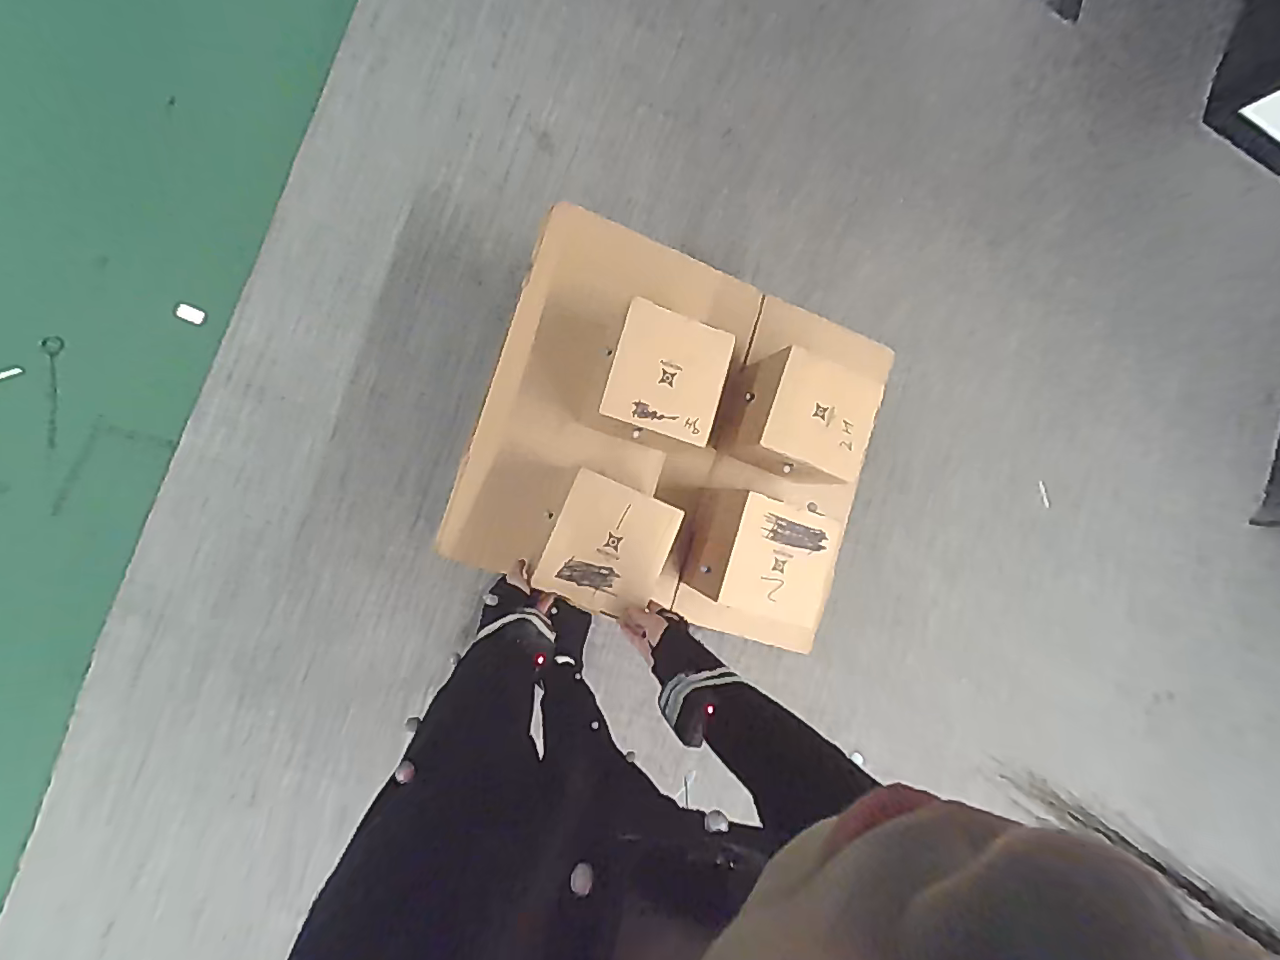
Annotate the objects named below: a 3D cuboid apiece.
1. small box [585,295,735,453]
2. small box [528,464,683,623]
[{"bbox_3d":[0.021,-0.150,0.835,0.168,0.176,0.179,17,85,-12],"label":"small box"},{"bbox_3d":[-0.061,0.089,0.816,0.168,0.176,0.179,24,84,-13],"label":"small box"}]
